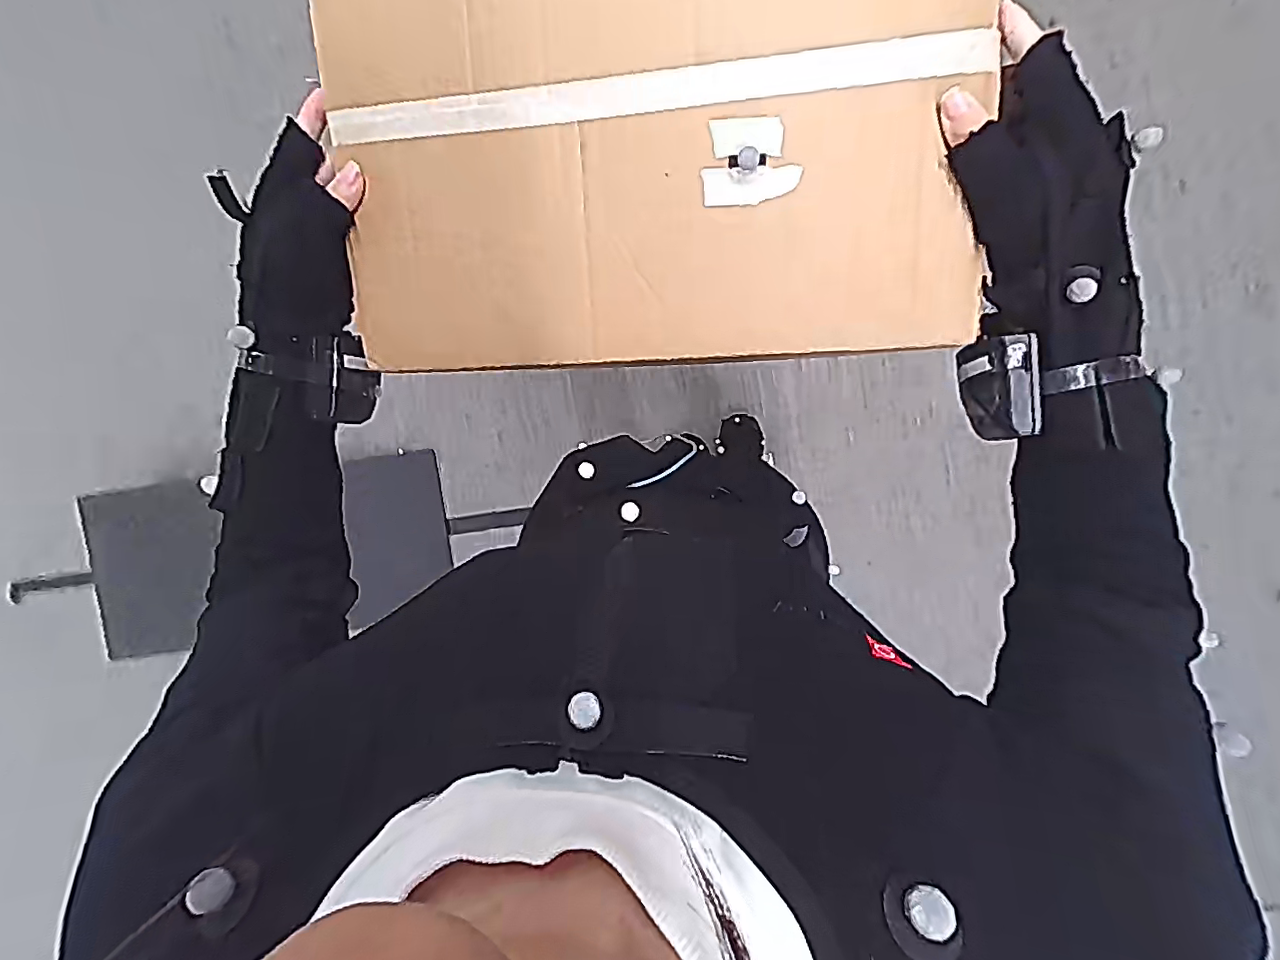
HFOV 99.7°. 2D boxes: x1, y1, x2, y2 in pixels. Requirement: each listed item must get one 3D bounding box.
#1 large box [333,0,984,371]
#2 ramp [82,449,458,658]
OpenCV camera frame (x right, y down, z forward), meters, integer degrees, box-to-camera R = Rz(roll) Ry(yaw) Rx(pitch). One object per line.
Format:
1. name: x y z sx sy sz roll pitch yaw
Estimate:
1. large box: 0.018 -0.270 0.485 0.408 0.320 0.320 -2 102 7
2. ramp: -1.053 0.209 1.557 0.991 0.206 0.509 -8 93 9
